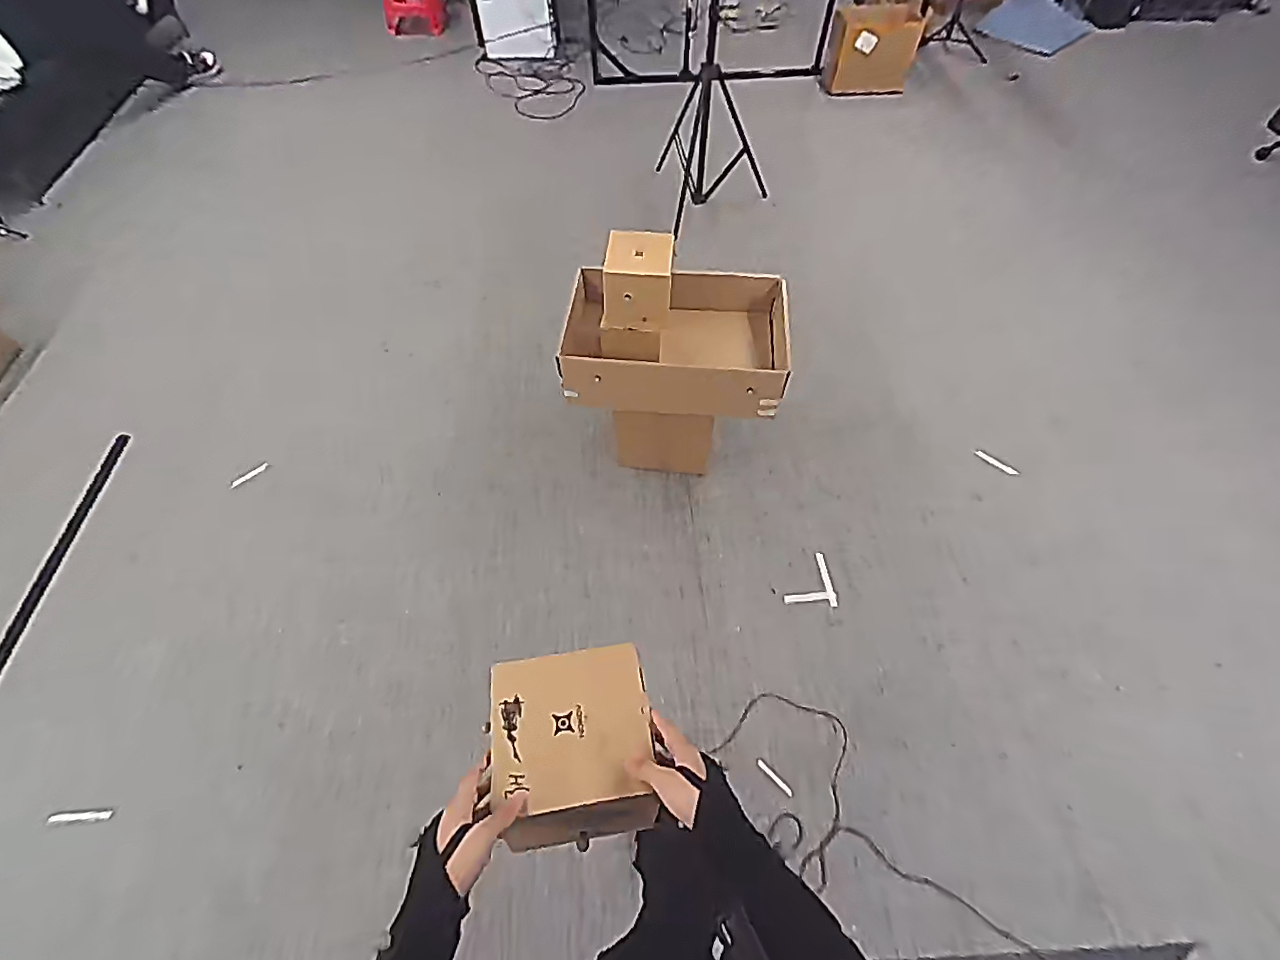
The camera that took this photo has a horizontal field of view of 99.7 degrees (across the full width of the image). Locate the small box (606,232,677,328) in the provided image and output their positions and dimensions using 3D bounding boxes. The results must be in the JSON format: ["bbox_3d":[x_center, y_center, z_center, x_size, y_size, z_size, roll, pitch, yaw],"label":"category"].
[{"bbox_3d":[0.008,-0.517,1.409,0.168,0.176,0.179,4,57,3],"label":"small box"}]

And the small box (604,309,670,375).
[{"bbox_3d":[-0.002,-0.420,1.540,0.168,0.176,0.179,7,57,5],"label":"small box"}]

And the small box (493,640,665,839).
[{"bbox_3d":[-0.076,0.314,0.655,0.179,0.176,0.168,-4,47,-9],"label":"small box"}]
